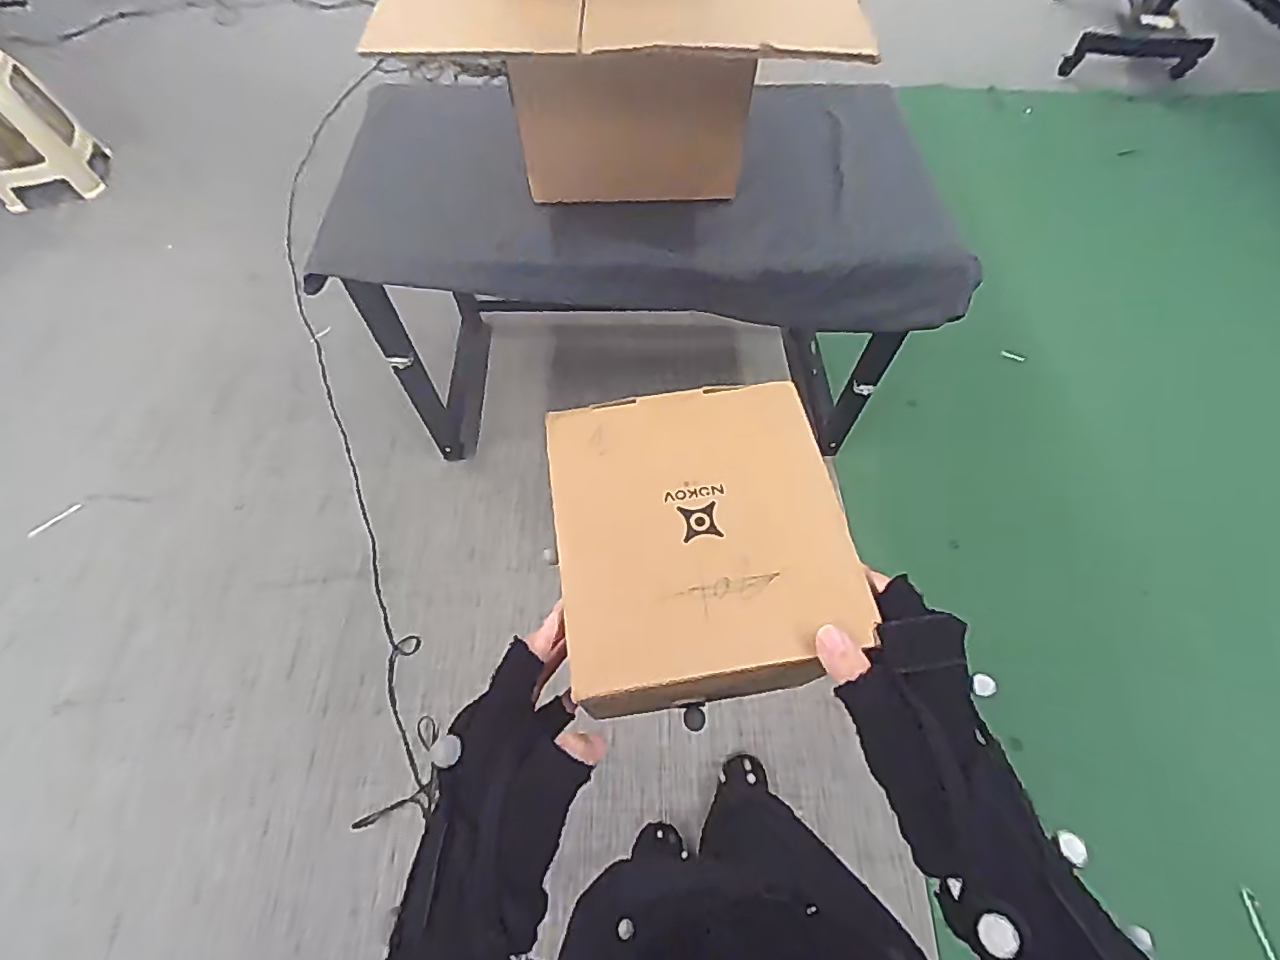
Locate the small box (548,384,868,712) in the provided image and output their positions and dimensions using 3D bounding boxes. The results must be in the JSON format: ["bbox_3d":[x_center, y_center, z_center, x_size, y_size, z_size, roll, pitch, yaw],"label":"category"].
[{"bbox_3d":[0.030,0.057,0.393,0.168,0.176,0.179,-8,63,-3],"label":"small box"}]
